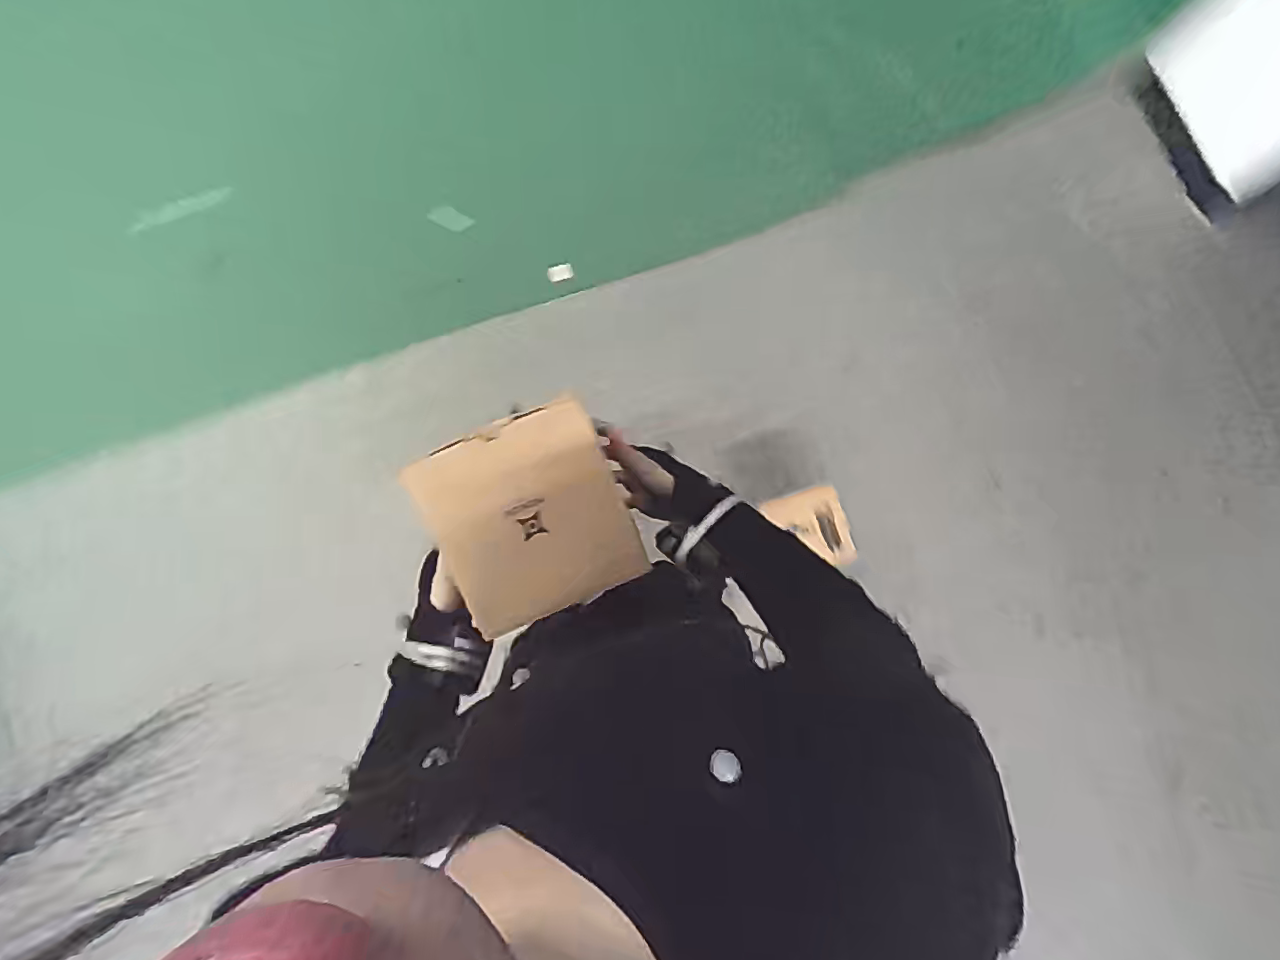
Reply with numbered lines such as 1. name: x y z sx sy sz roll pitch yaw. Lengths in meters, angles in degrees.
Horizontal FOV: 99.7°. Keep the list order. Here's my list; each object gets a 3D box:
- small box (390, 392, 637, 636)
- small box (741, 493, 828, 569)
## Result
1. small box: -0.115 0.020 0.553 0.168 0.176 0.179 -23 103 -3
2. small box: 0.373 0.137 1.434 0.179 0.176 0.168 -12 84 -1
